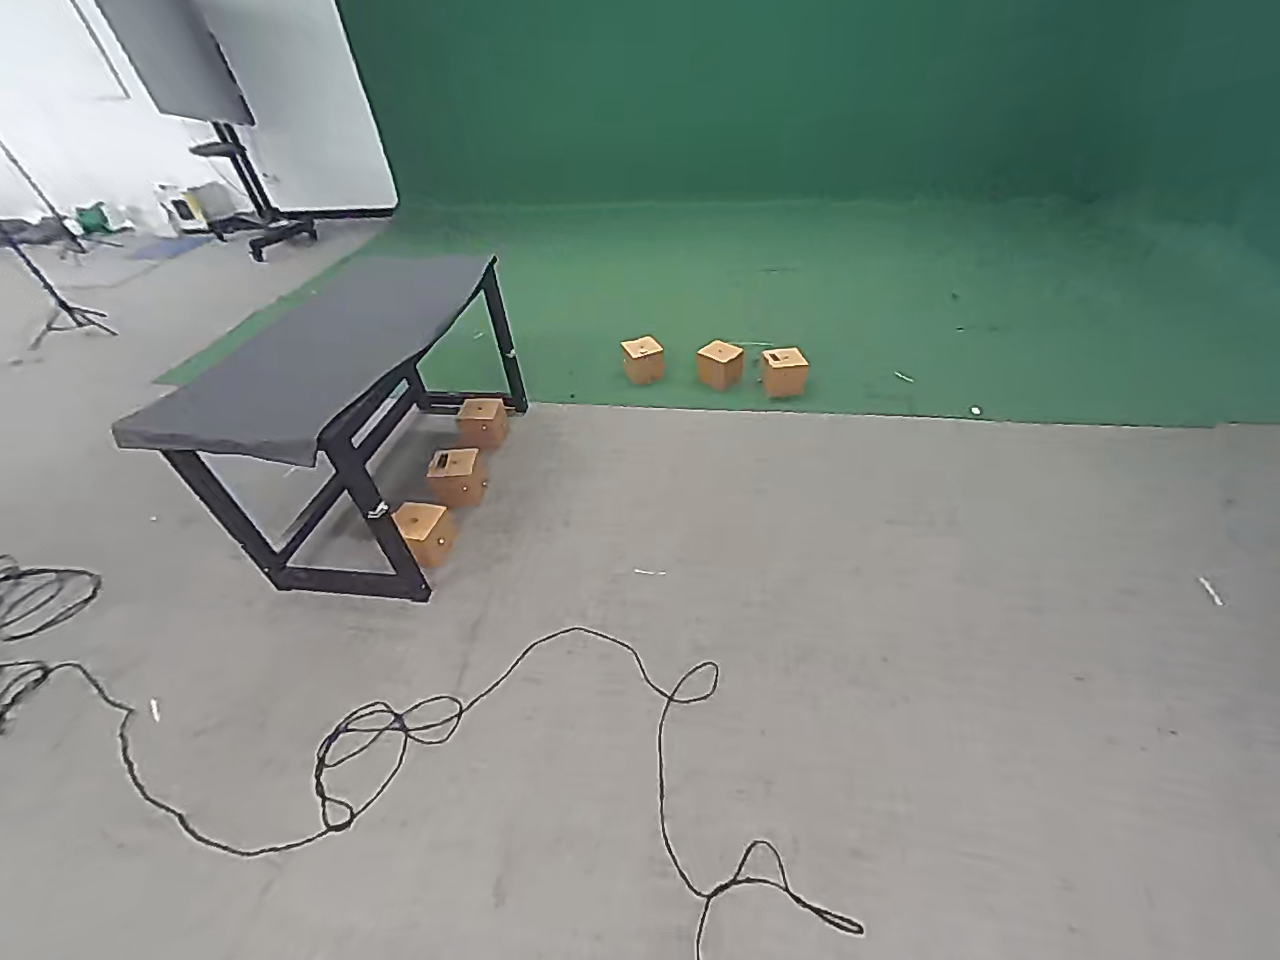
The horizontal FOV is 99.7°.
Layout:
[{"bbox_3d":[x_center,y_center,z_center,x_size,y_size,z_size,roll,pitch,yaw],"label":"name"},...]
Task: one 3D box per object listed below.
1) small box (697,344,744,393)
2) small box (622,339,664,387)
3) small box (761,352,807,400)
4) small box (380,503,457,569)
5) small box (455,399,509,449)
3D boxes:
[{"bbox_3d":[0.401,-0.554,2.705,0.179,0.176,0.168,30,51,33],"label":"small box"},{"bbox_3d":[0.017,-0.602,2.792,0.168,0.176,0.179,-18,43,-15],"label":"small box"},{"bbox_3d":[0.692,-0.499,2.619,0.179,0.176,0.168,-6,42,-4],"label":"small box"},{"bbox_3d":[-0.796,0.206,1.964,0.179,0.176,0.168,6,43,12],"label":"small box"},{"bbox_3d":[-0.711,-0.252,2.460,0.179,0.176,0.168,0,42,5],"label":"small box"}]
